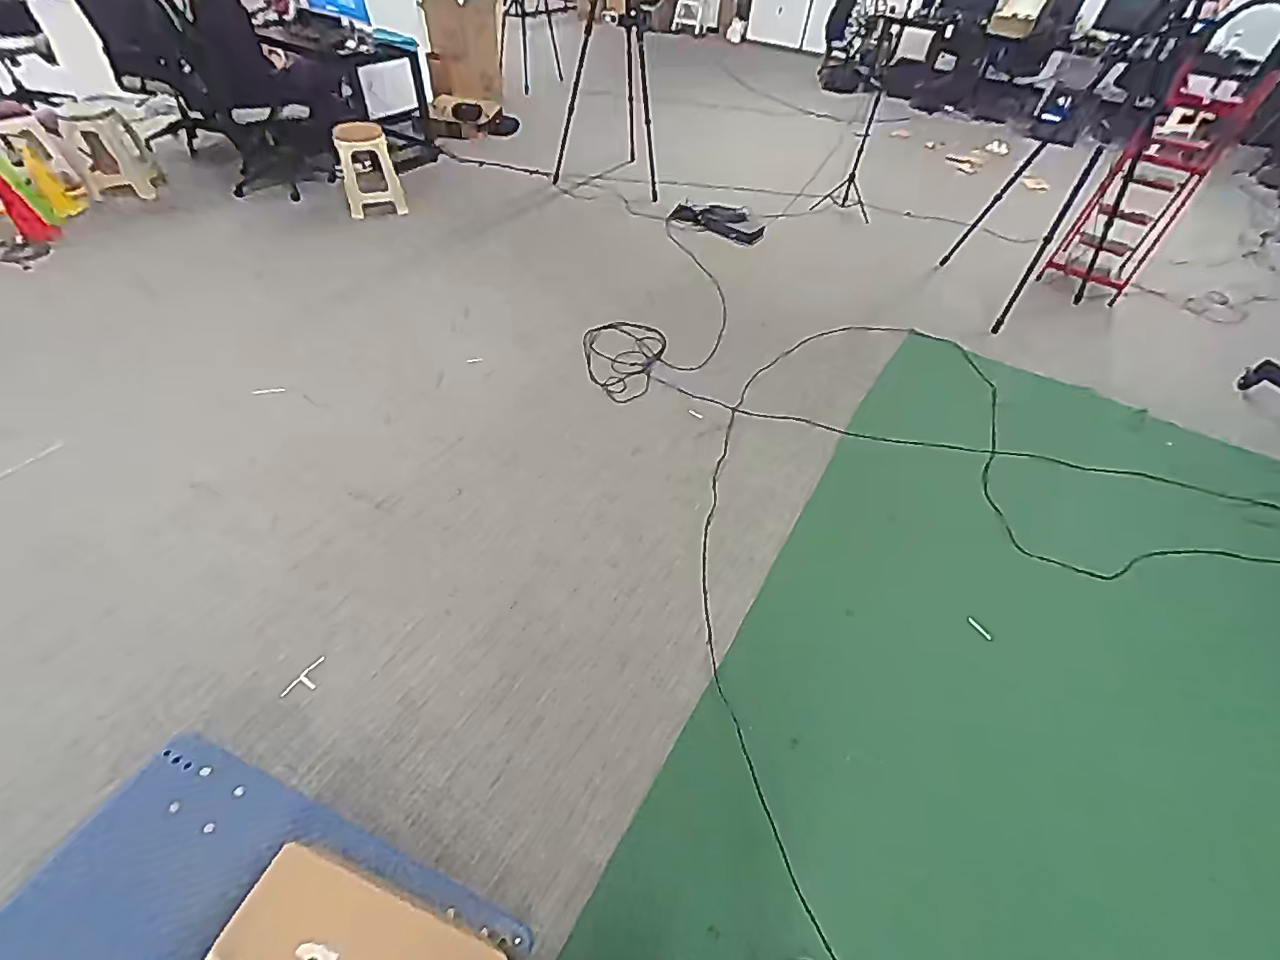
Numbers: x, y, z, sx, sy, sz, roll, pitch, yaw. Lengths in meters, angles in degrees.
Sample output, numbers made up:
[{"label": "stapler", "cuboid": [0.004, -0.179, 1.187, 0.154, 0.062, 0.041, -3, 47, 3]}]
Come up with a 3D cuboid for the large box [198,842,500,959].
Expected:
[{"label": "large box", "cuboid": [-0.491, 0.849, 0.882, 0.408, 0.320, 0.320, 28, 50, -1]}]
